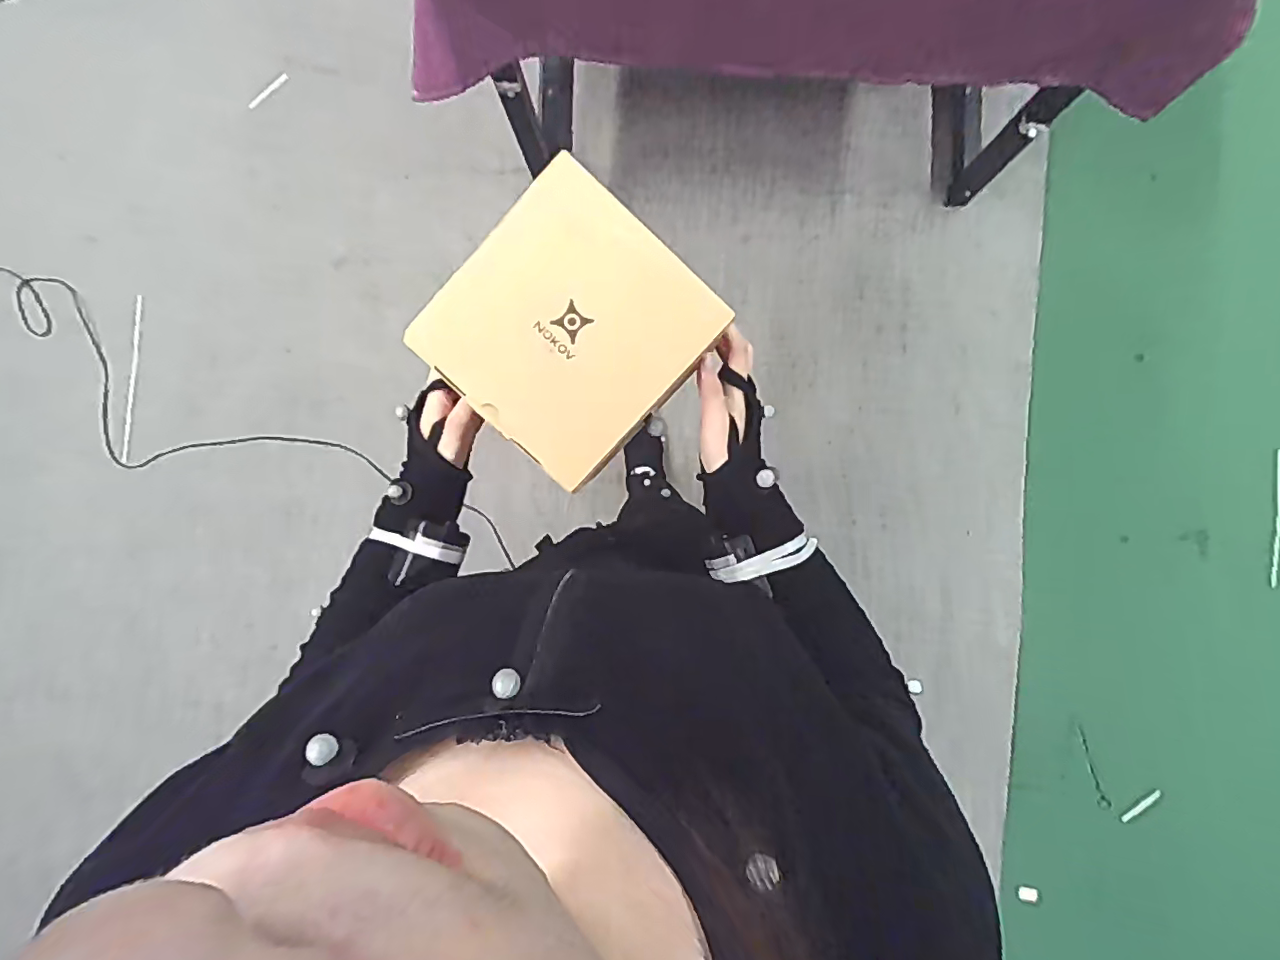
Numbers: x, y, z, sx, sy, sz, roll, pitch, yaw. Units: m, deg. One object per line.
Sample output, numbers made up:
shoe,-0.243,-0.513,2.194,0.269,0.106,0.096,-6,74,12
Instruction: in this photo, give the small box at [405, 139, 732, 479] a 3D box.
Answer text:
small box,-0.050,-0.125,0.457,0.168,0.176,0.179,43,96,-3
